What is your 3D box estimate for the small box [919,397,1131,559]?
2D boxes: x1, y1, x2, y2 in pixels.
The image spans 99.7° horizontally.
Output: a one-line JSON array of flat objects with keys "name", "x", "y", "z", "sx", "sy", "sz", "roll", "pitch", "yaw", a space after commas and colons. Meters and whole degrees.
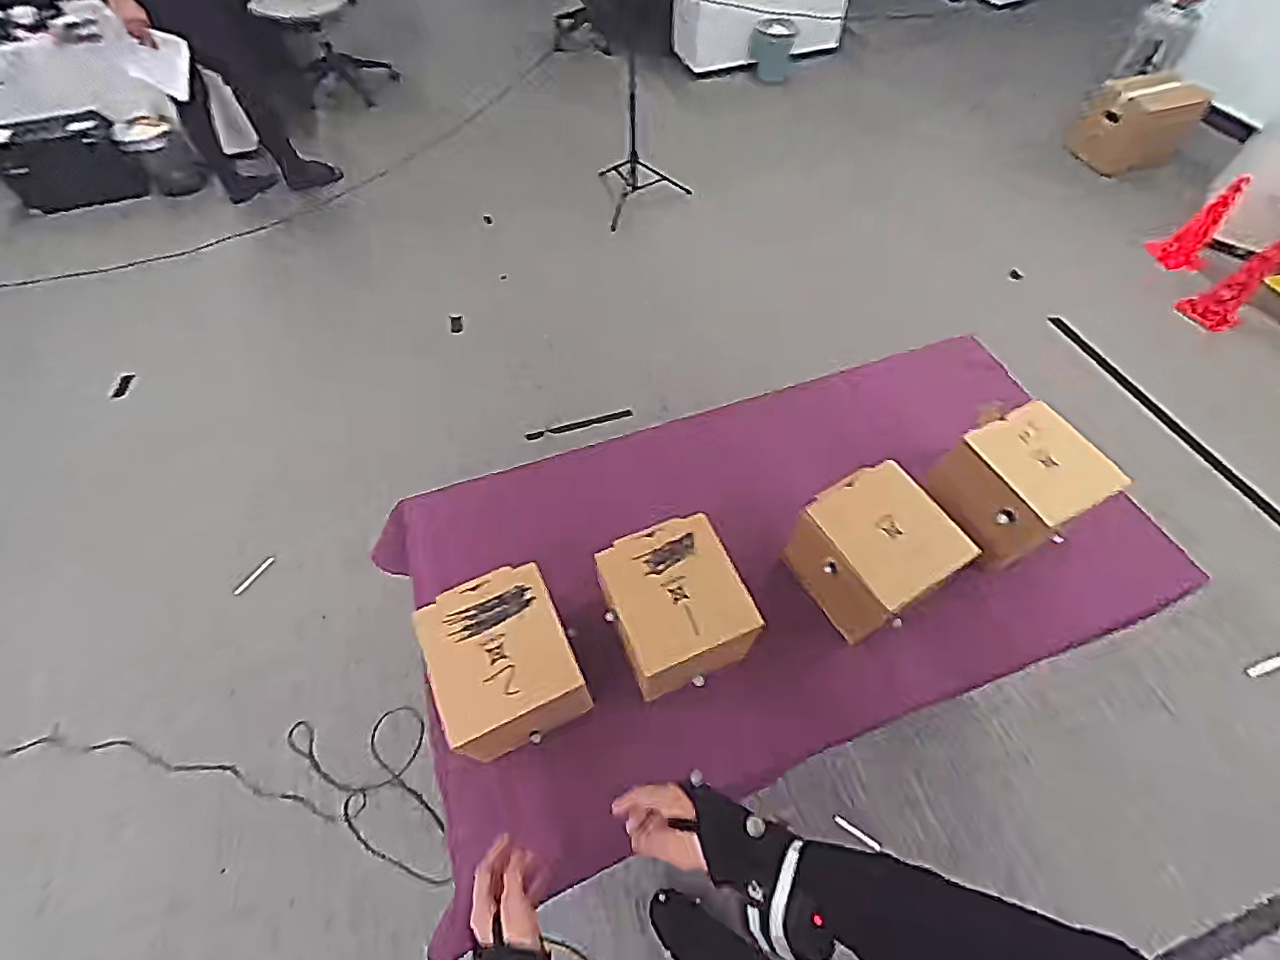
[{"name": "small box", "x": 0.591, "y": 0.006, "z": 0.858, "sx": 0.168, "sy": 0.176, "sz": 0.179, "roll": -23, "pitch": 60, "yaw": -13}]

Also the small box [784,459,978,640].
[{"name": "small box", "x": 0.339, "y": 0.107, "z": 0.804, "sx": 0.168, "sy": 0.176, "sz": 0.179, "roll": -27, "pitch": 61, "yaw": -14}]

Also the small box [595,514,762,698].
[{"name": "small box", "x": 0.045, "y": 0.182, "z": 0.763, "sx": 0.168, "sy": 0.176, "sz": 0.179, "roll": -21, "pitch": 61, "yaw": -11}]
